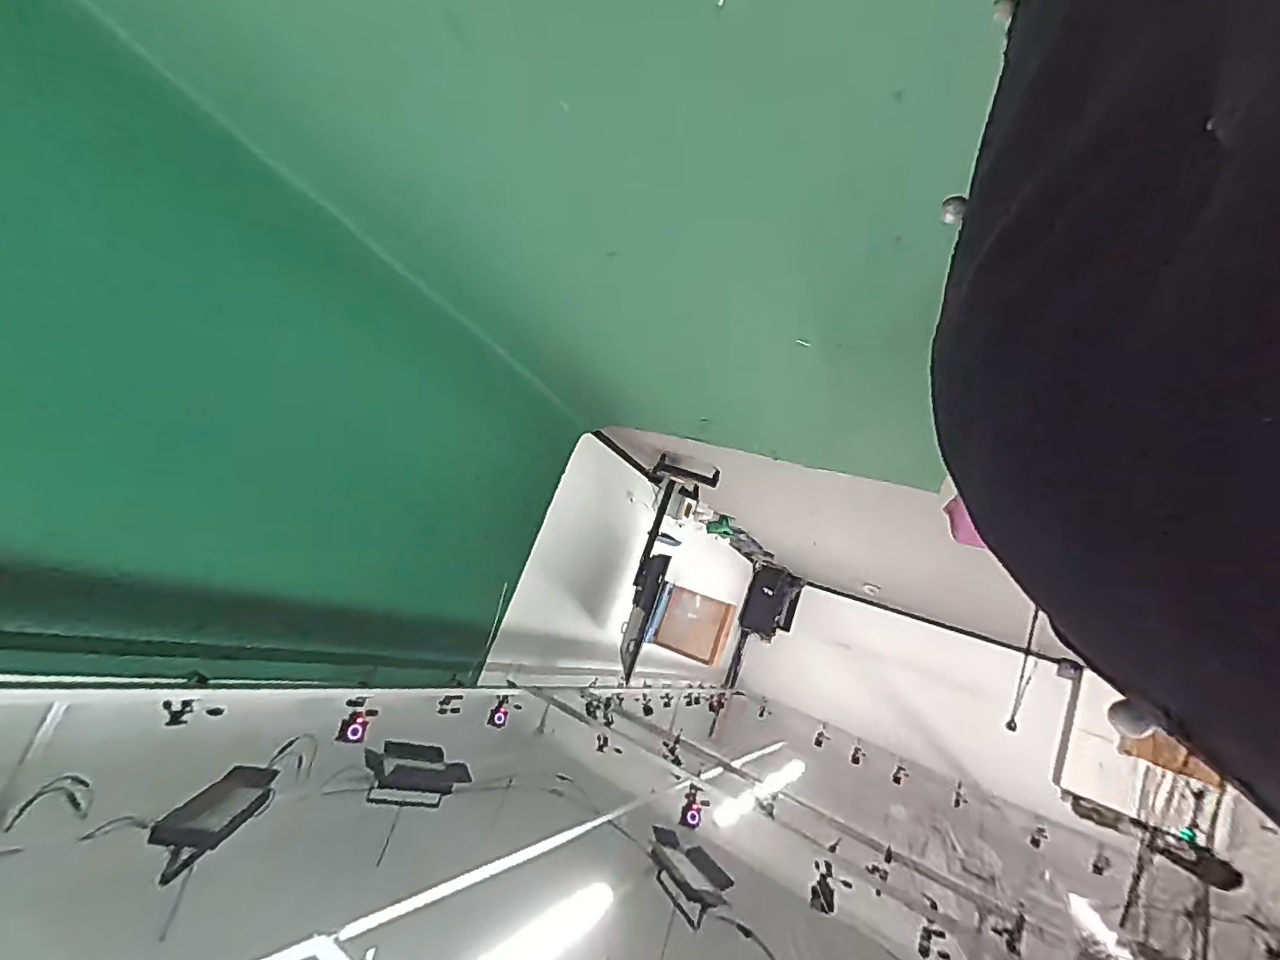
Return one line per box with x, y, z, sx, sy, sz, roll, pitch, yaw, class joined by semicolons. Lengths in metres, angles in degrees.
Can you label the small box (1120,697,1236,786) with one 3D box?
1.503;0.721;1.516;0.179;0.176;0.168;16;168;28;small box
